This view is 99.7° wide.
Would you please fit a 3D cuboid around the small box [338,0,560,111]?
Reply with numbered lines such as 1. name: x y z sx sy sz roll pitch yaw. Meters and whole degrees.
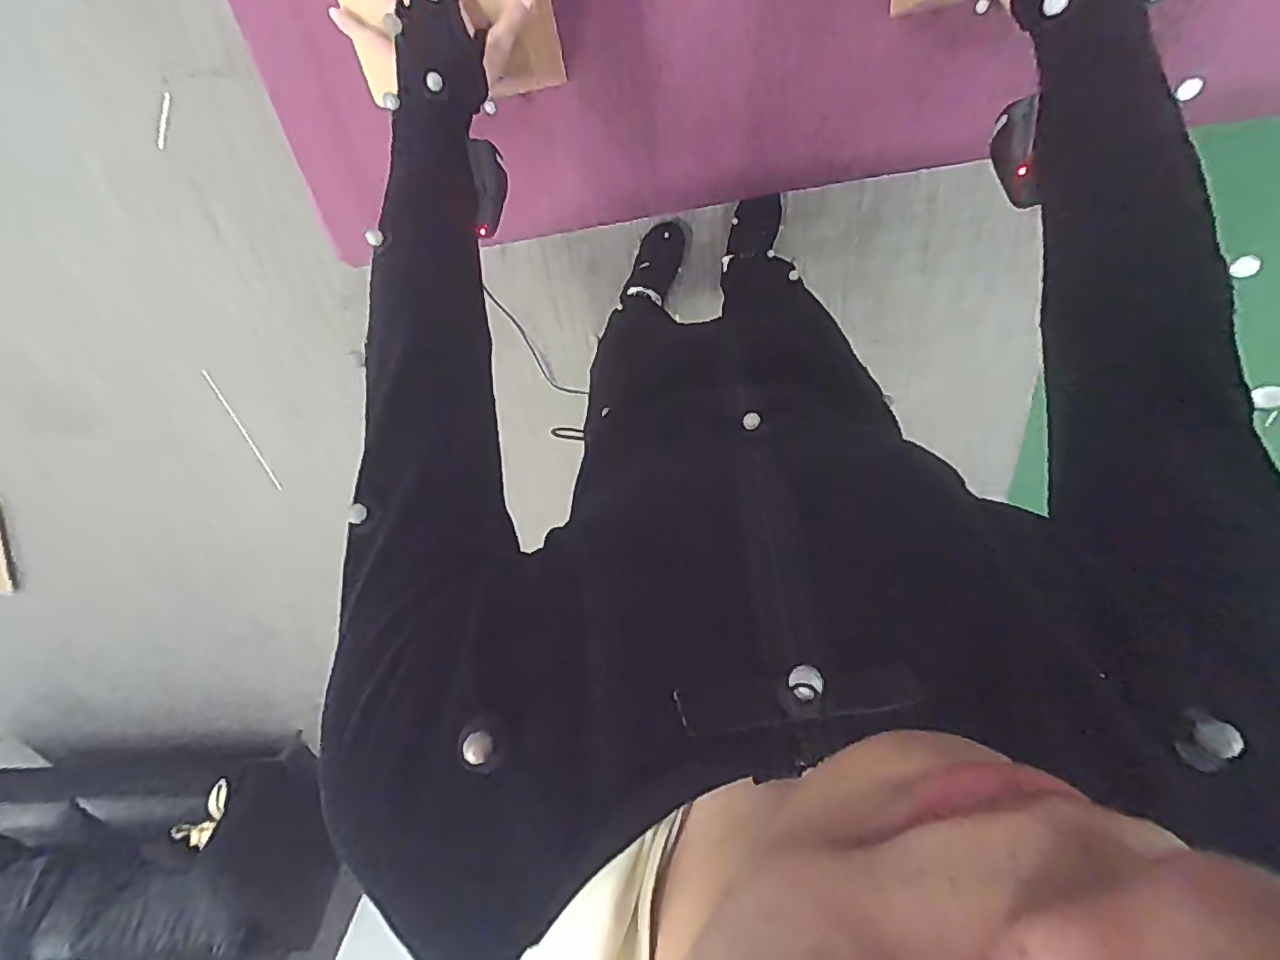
1. small box: -0.192 -0.495 0.549 0.168 0.176 0.179 -5 122 10
